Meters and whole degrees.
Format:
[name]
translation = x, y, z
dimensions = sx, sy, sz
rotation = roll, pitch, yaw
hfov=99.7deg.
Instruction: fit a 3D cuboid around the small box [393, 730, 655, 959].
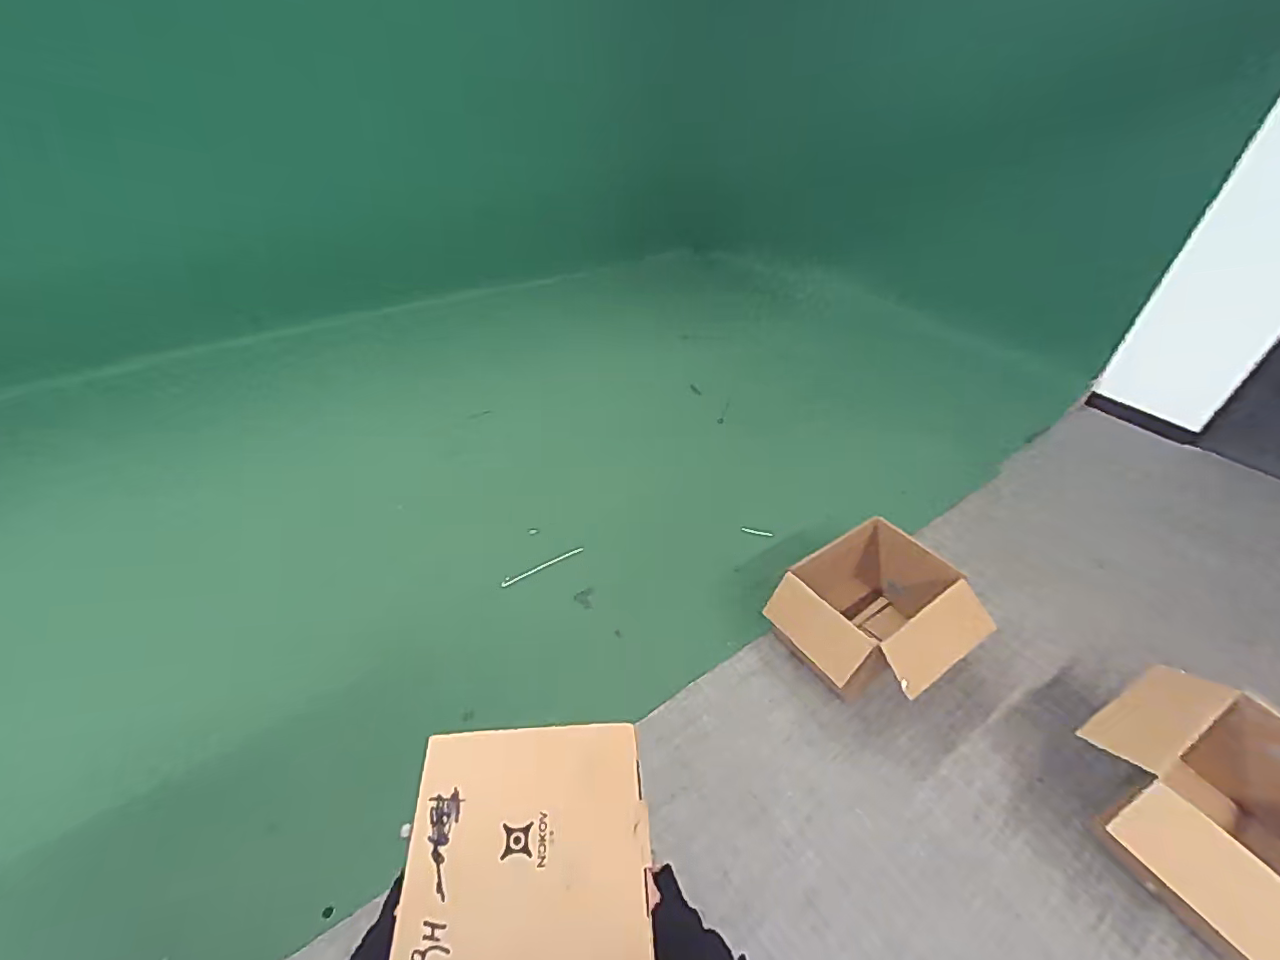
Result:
[small box]
translation = -0.087, 0.331, 0.465
dimensions = 0.179, 0.176, 0.168
rotation = 1, 44, -6
